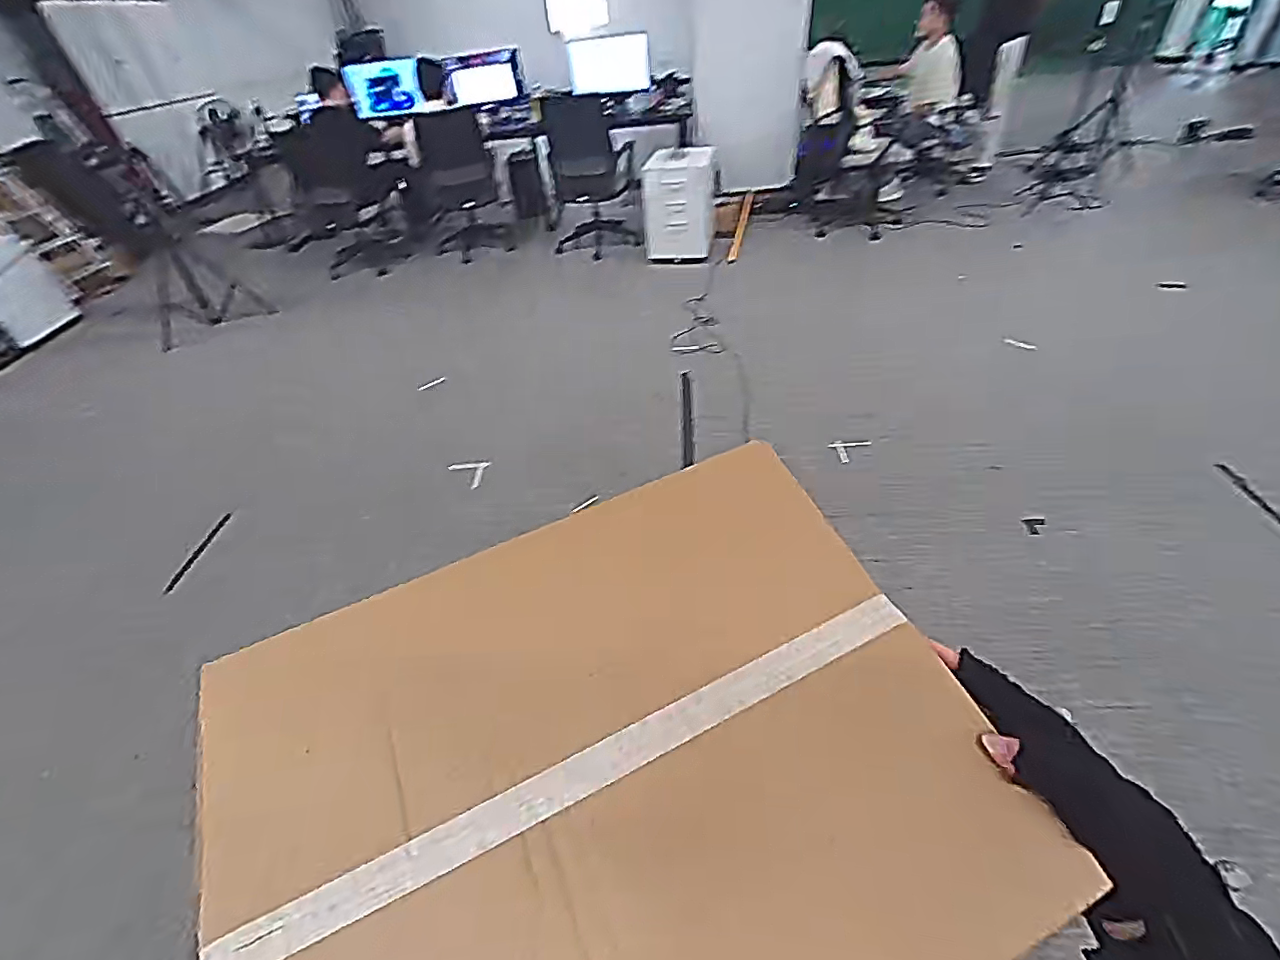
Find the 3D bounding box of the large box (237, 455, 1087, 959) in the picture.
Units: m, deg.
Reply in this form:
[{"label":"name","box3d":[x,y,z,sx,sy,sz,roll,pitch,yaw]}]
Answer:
[{"label":"large box","box3d":[-0.007,0.247,0.430,0.408,0.320,0.320,-22,57,-12]}]
